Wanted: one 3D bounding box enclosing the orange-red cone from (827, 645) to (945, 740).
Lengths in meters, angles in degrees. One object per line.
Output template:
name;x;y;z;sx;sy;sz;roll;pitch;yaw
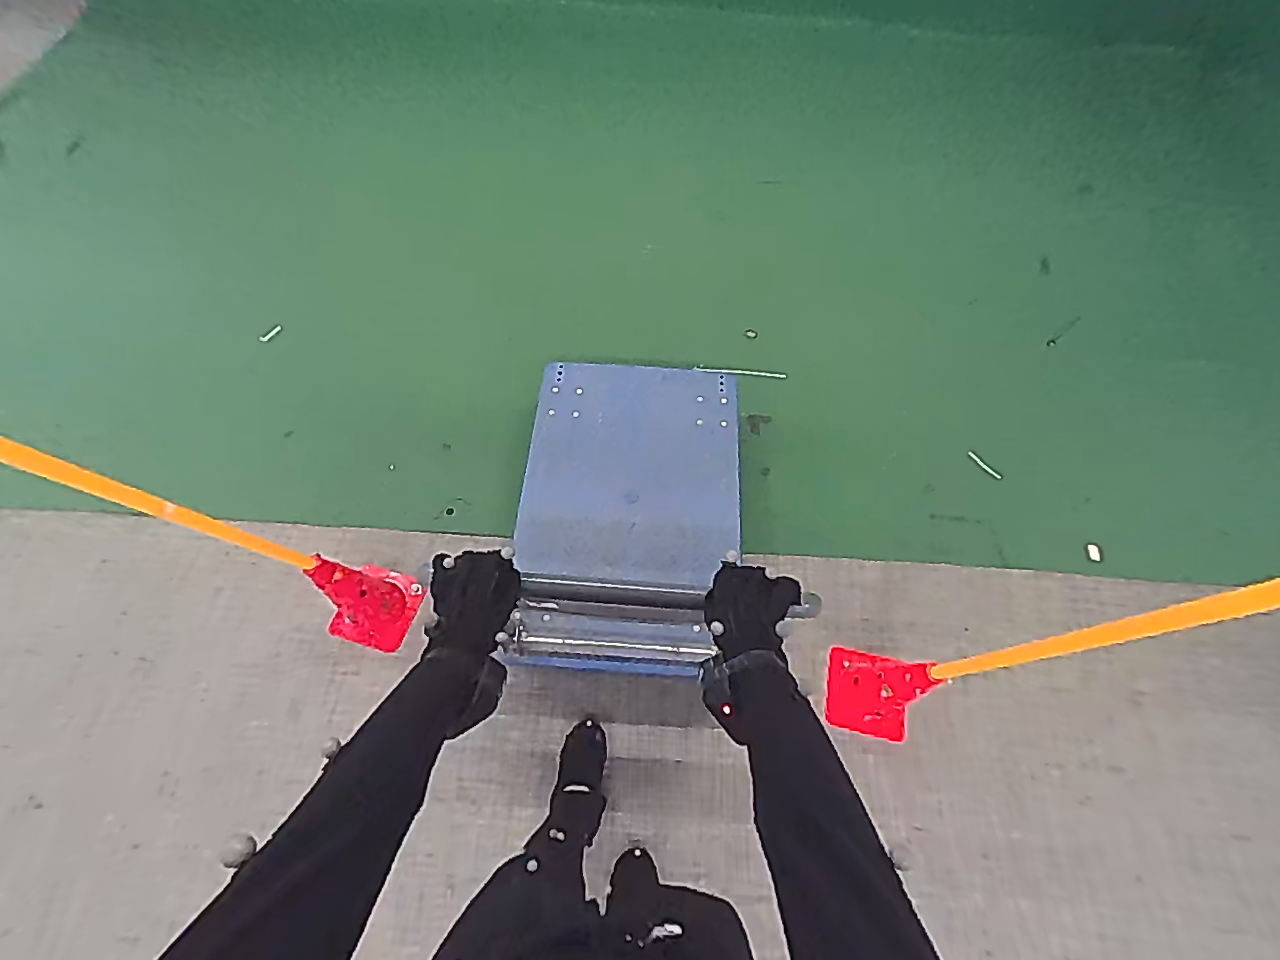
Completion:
orange-red cone;0.580;0.456;1.215;0.198;0.360;0.199;13;64;6
